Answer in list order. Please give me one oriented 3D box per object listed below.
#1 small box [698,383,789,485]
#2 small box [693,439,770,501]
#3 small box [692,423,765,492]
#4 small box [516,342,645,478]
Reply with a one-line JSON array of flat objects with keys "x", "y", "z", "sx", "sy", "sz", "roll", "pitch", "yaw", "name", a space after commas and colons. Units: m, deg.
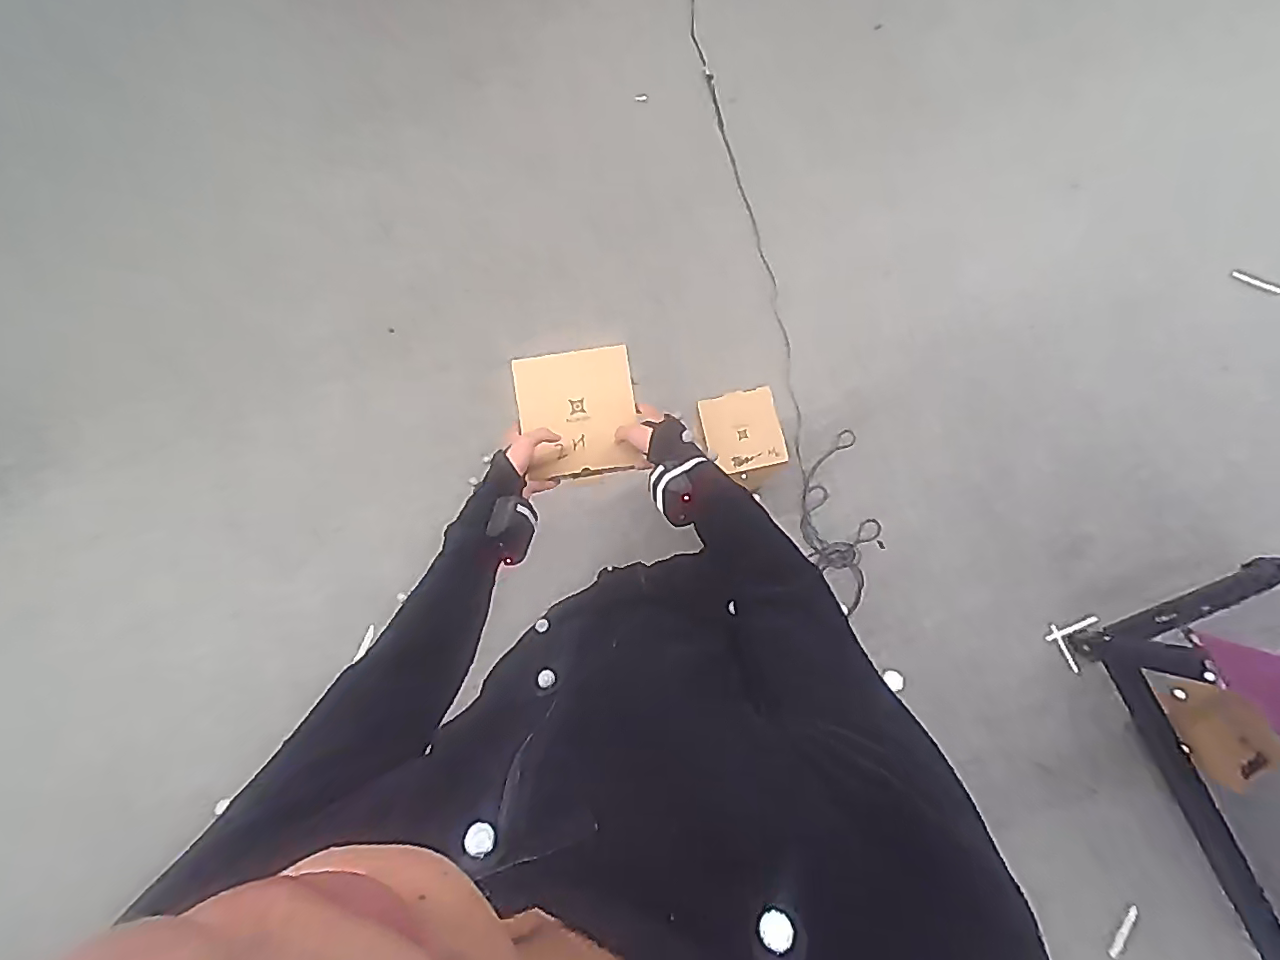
[{"x": 0.230, "y": -0.100, "z": 1.250, "sx": 0.168, "sy": 0.176, "sz": 0.179, "roll": -12, "pitch": 79, "yaw": 3, "name": "small box"}, {"x": 0.258, "y": -0.053, "z": 1.571, "sx": 0.168, "sy": 0.176, "sz": 0.179, "roll": -21, "pitch": 80, "yaw": 2, "name": "small box"}, {"x": 0.245, "y": -0.077, "z": 1.411, "sx": 0.179, "sy": 0.176, "sz": 0.168, "roll": -19, "pitch": 80, "yaw": 2, "name": "small box"}, {"x": -0.088, "y": -0.100, "z": 0.843, "sx": 0.168, "sy": 0.176, "sz": 0.179, "roll": -8, "pitch": 91, "yaw": -2, "name": "small box"}]
